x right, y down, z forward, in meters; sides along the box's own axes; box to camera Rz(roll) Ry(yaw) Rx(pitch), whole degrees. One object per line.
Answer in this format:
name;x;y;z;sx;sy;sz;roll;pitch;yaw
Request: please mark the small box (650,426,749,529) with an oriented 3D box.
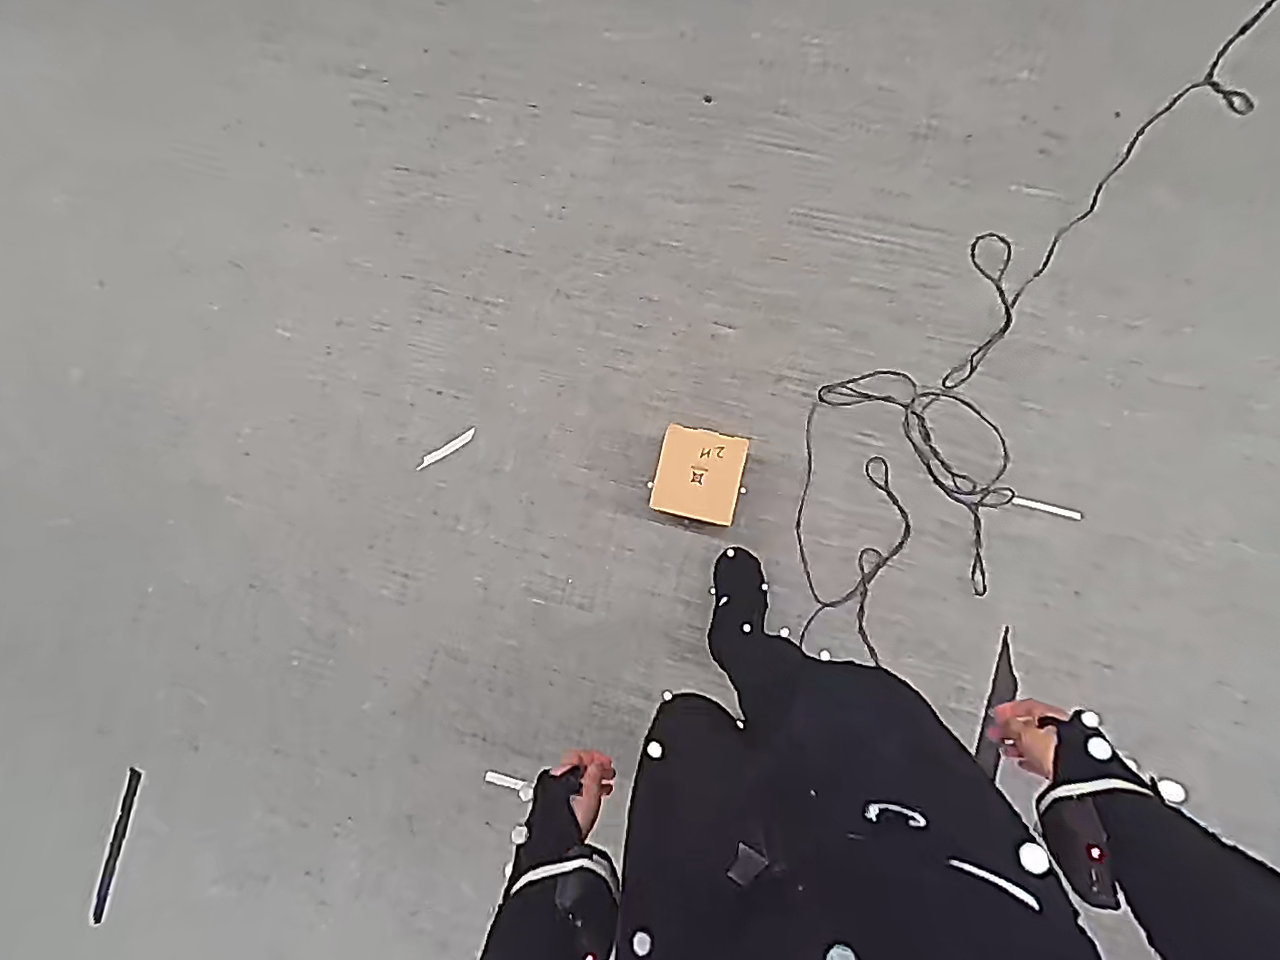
small box;0.127;-0.001;1.136;0.168;0.176;0.179;13;87;8
